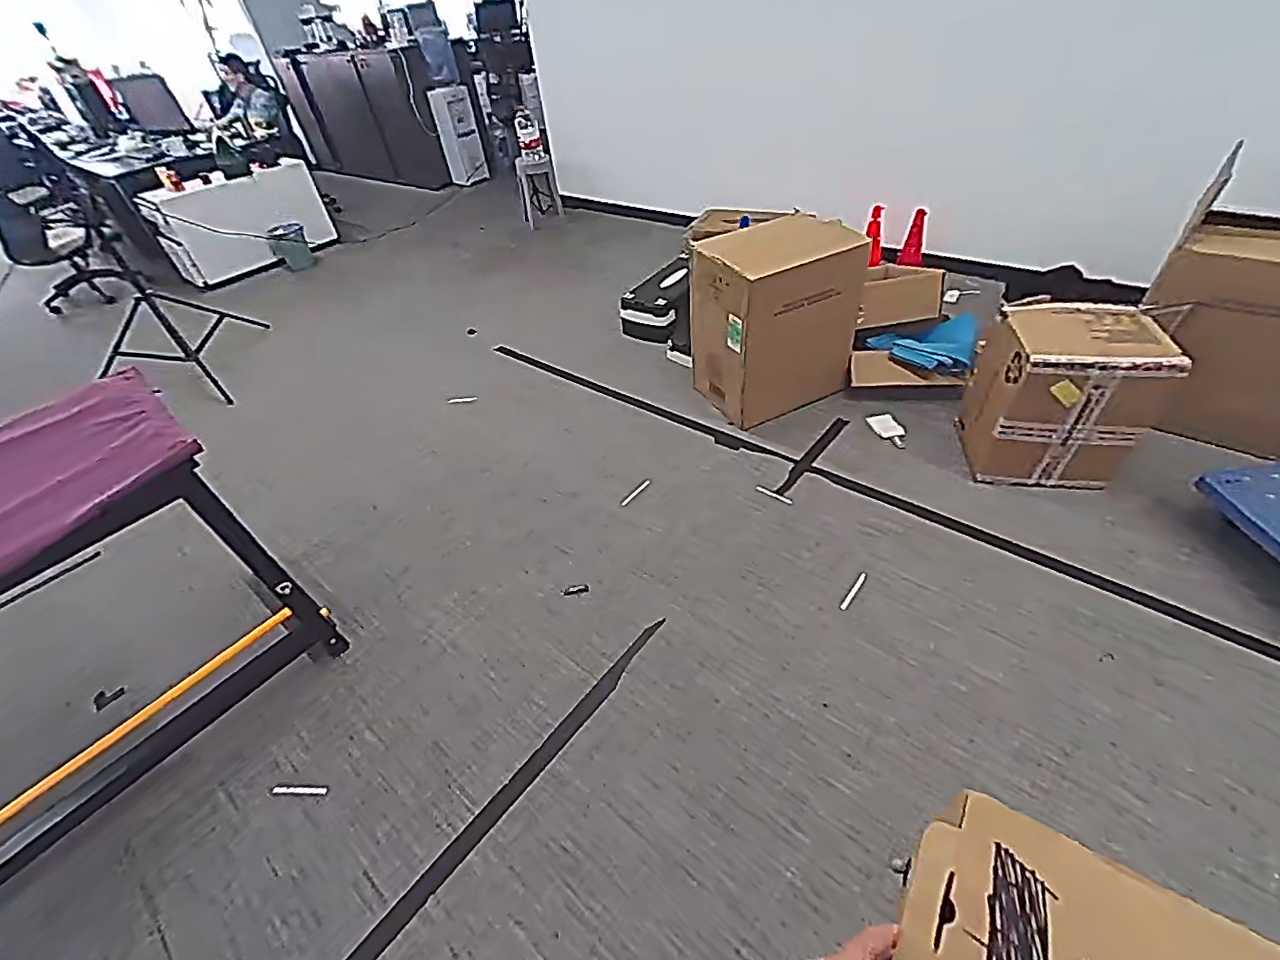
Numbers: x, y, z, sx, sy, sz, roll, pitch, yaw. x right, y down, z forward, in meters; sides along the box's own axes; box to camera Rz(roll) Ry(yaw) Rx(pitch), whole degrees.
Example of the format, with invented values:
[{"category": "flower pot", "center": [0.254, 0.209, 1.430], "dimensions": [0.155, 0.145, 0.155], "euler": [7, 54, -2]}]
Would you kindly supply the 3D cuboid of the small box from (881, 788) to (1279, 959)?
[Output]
[{"category": "small box", "center": [0.269, 0.356, 0.363], "dimensions": [0.179, 0.176, 0.168], "euler": [21, 51, 26]}]
